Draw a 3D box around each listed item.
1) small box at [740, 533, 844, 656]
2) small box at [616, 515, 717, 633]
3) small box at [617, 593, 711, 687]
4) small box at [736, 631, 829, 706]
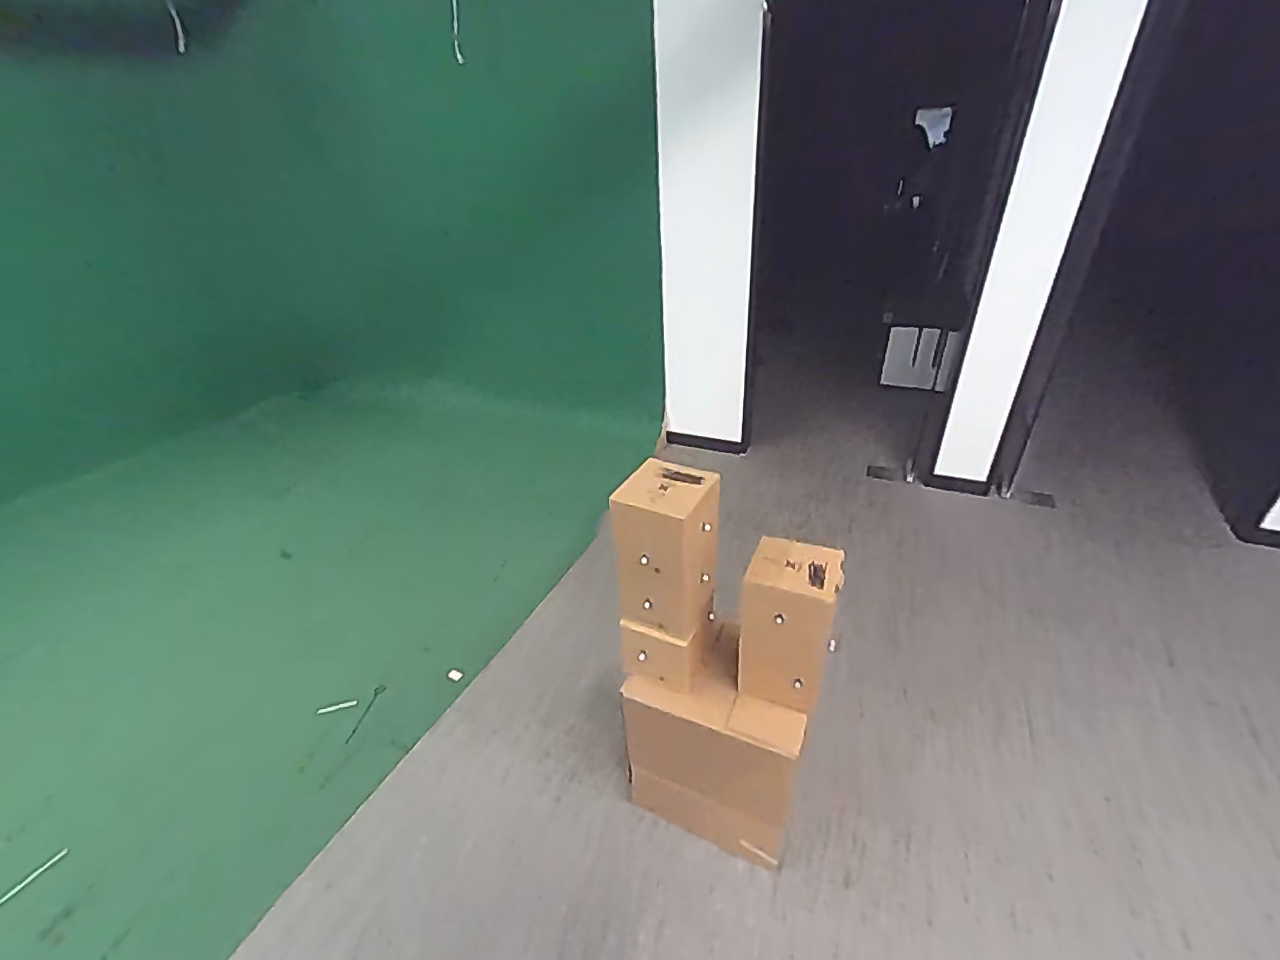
[{"bbox_3d":[0.319,0.242,1.140,0.179,0.176,0.168,11,34,24],"label":"small box"},{"bbox_3d":[0.063,0.209,1.209,0.168,0.176,0.179,15,36,24],"label":"small box"},{"bbox_3d":[0.063,0.355,1.286,0.168,0.176,0.179,14,35,23],"label":"small box"},{"bbox_3d":[0.325,0.381,1.227,0.179,0.176,0.168,10,34,23],"label":"small box"}]
